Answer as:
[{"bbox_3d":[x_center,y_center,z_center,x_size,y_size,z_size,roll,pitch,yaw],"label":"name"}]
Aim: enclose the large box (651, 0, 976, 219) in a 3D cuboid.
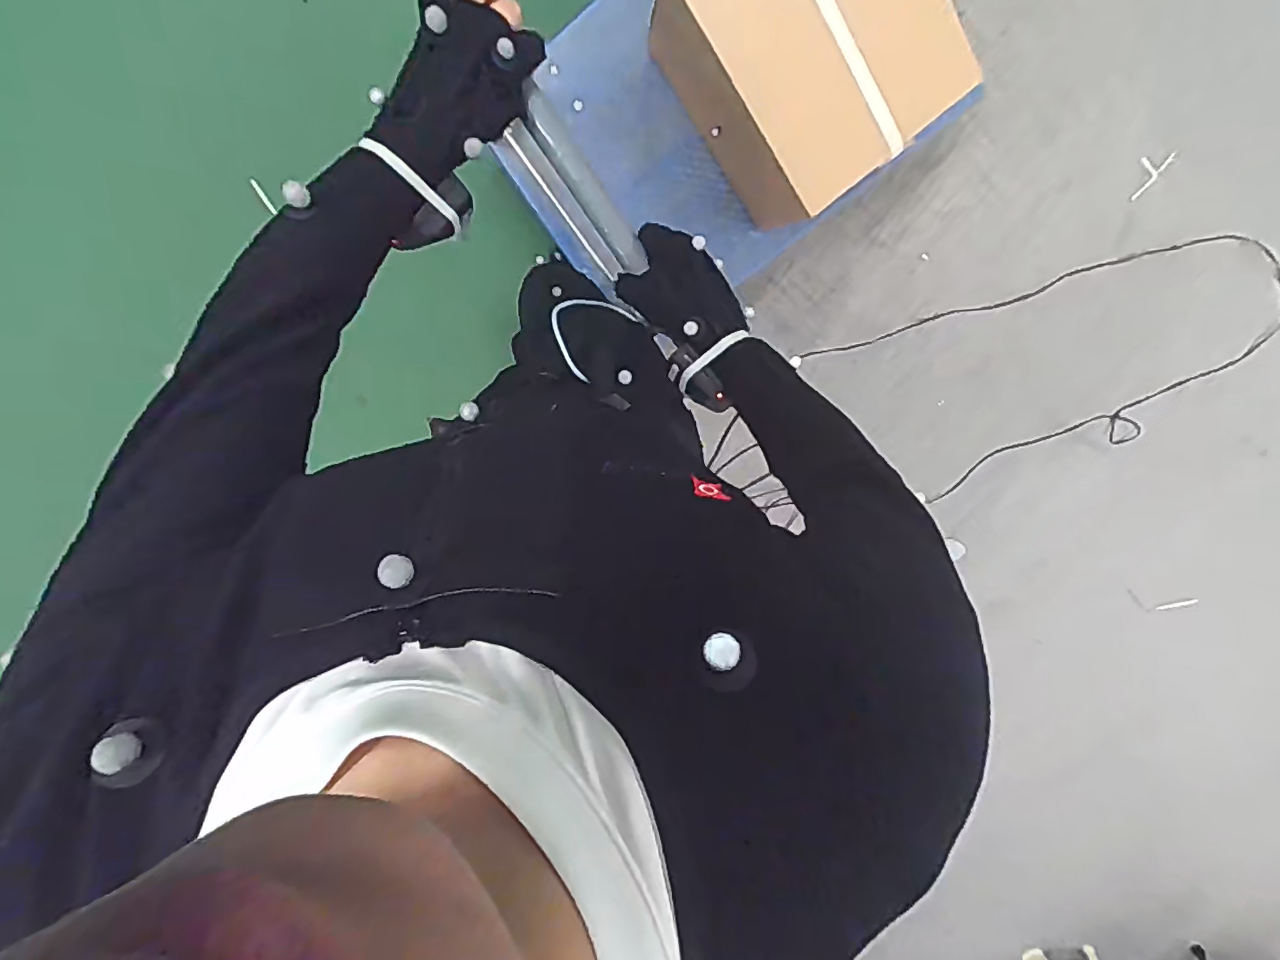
[{"bbox_3d":[0.264,-0.724,0.921,0.320,0.320,0.408,-37,110,10],"label":"large box"}]
